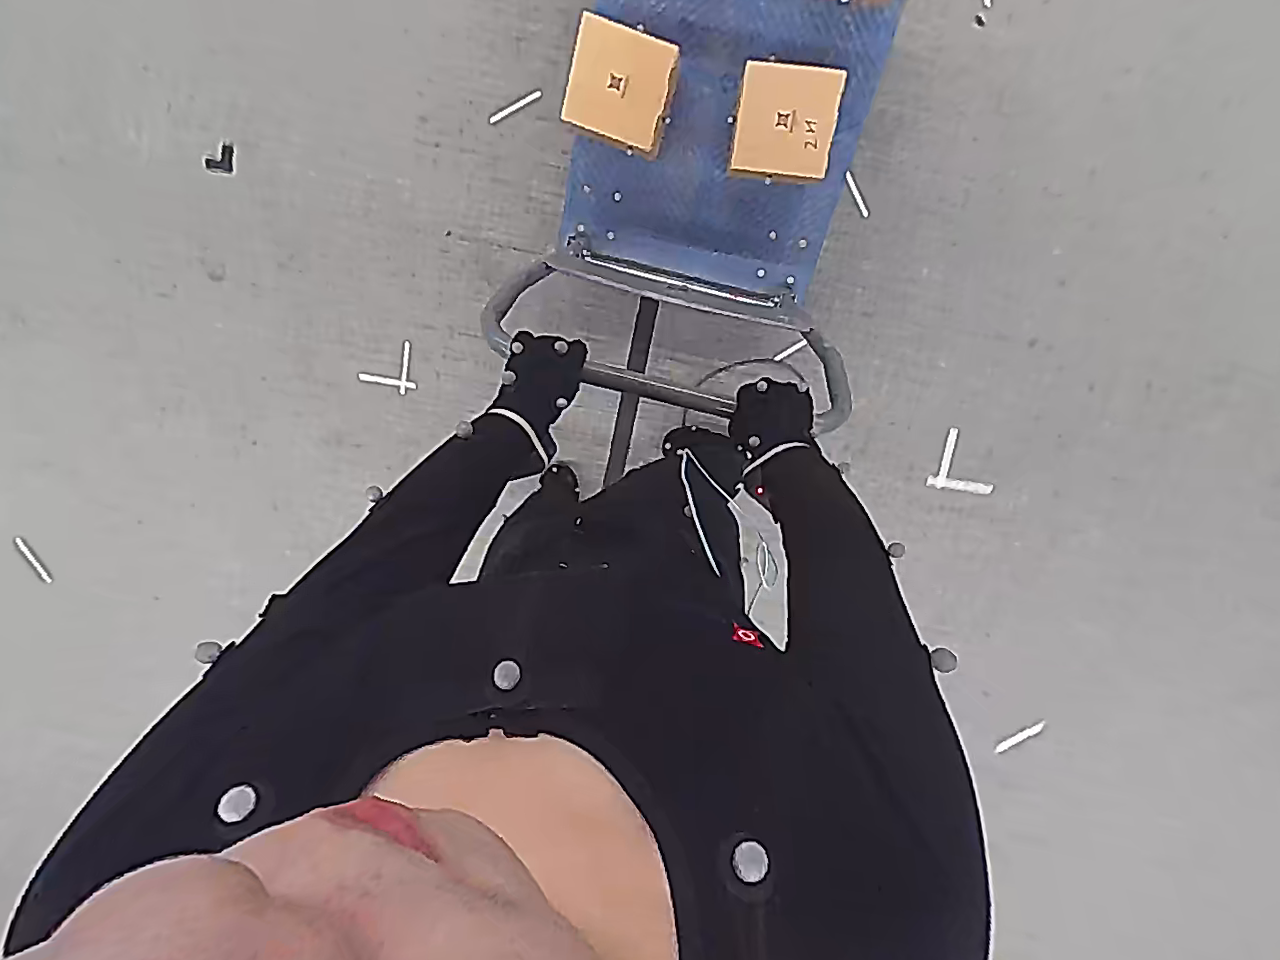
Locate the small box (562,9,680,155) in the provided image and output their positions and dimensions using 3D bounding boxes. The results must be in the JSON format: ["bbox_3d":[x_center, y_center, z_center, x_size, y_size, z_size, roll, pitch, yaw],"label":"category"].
[{"bbox_3d":[-0.031,-0.742,1.030,0.179,0.176,0.168,18,116,-4],"label":"small box"}]

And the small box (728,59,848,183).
[{"bbox_3d":[0.269,-0.673,1.033,0.179,0.176,0.168,8,116,2],"label":"small box"}]
